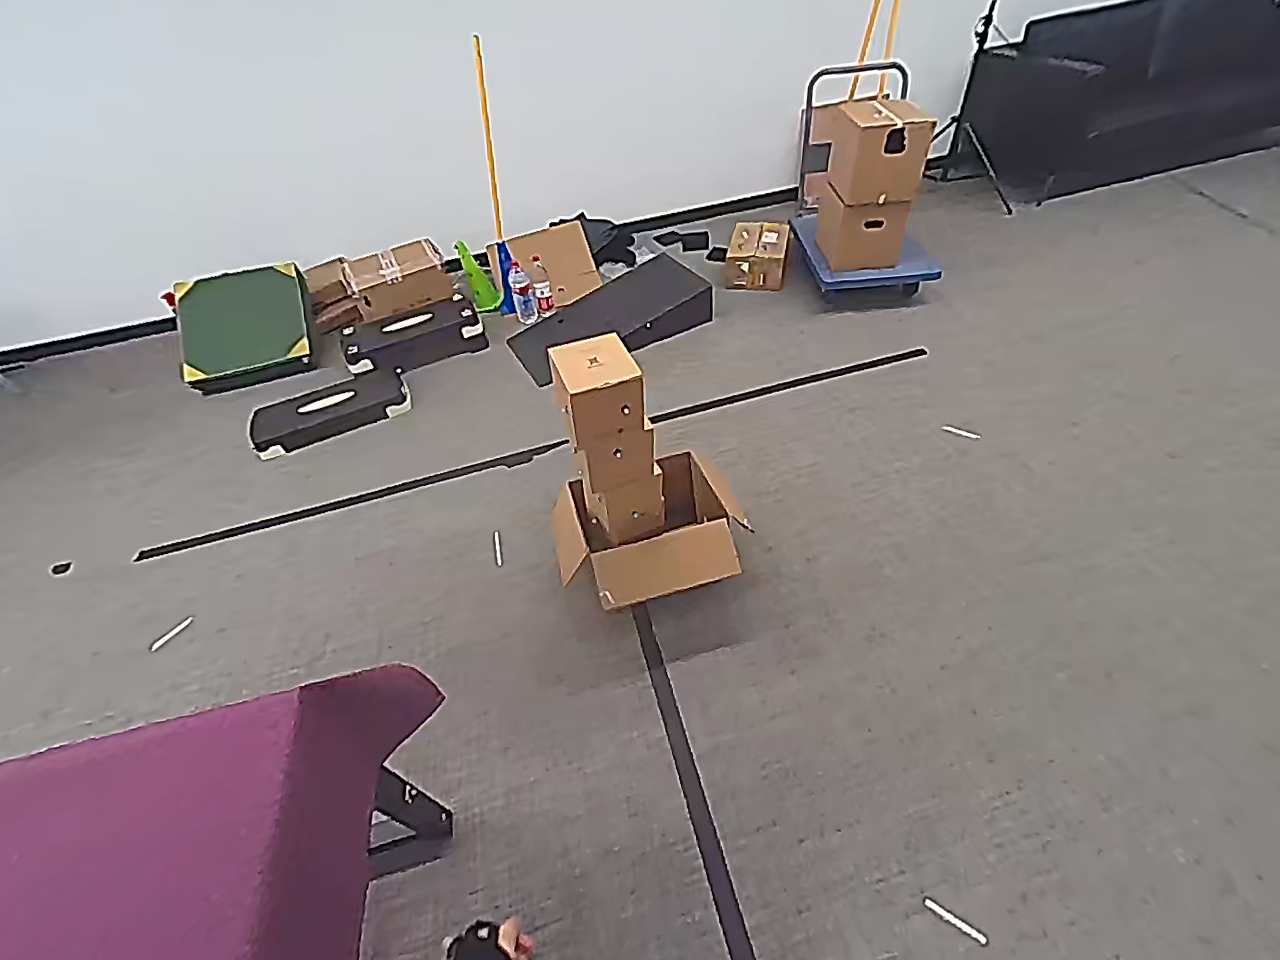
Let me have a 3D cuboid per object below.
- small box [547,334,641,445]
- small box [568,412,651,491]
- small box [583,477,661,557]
[{"bbox_3d":[-0.100,-0.200,1.232,0.168,0.176,0.179,-17,50,-14],"label":"small box"},{"bbox_3d":[-0.079,-0.097,1.358,0.179,0.176,0.168,-18,51,-14],"label":"small box"},{"bbox_3d":[-0.049,0.099,1.623,0.179,0.176,0.168,-29,53,-23],"label":"small box"}]
